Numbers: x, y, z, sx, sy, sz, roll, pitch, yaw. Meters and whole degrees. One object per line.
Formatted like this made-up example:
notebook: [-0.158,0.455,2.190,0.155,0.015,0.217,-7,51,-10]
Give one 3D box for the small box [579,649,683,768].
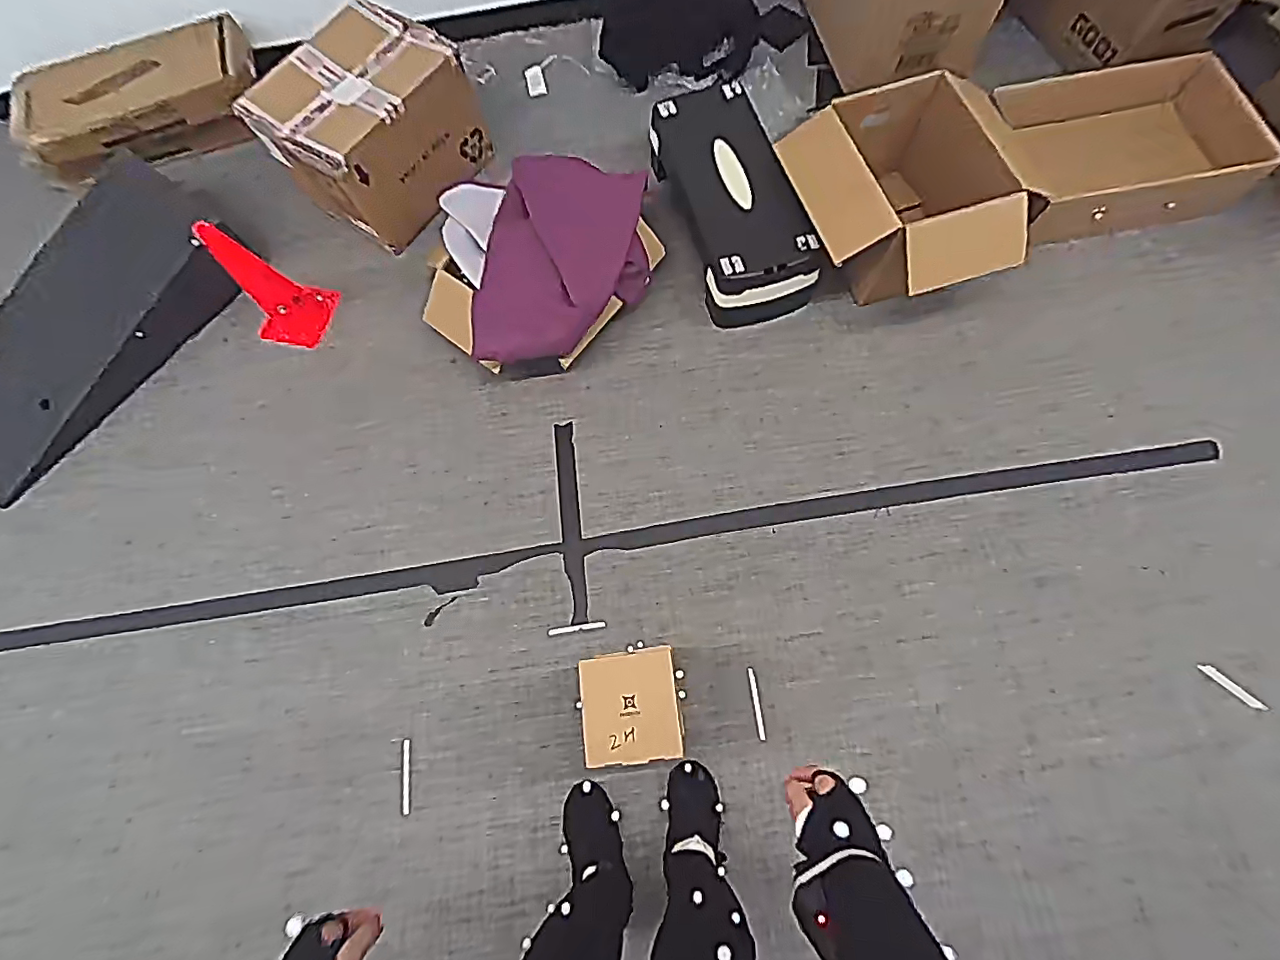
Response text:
small box: [-0.015,0.414,0.999,0.168,0.176,0.179,-8,72,2]
